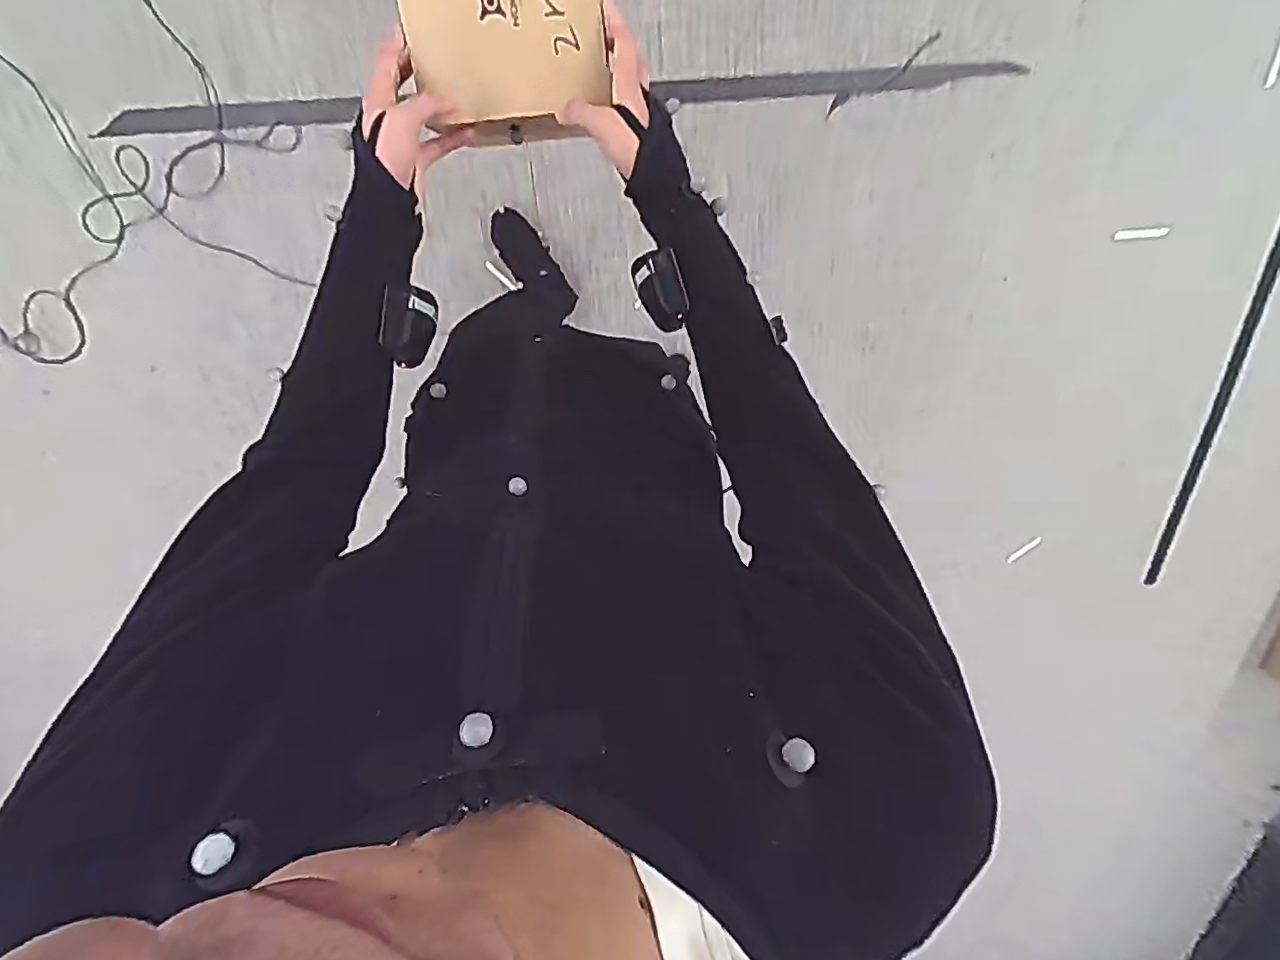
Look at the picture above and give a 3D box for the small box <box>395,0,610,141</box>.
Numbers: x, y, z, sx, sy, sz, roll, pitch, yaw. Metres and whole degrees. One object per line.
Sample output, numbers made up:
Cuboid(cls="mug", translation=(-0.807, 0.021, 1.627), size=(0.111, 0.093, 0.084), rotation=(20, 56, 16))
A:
Cuboid(cls="small box", translation=(-0.124, -0.443, 0.528), size=(0.179, 0.176, 0.168), rotation=(-6, 116, 0))
